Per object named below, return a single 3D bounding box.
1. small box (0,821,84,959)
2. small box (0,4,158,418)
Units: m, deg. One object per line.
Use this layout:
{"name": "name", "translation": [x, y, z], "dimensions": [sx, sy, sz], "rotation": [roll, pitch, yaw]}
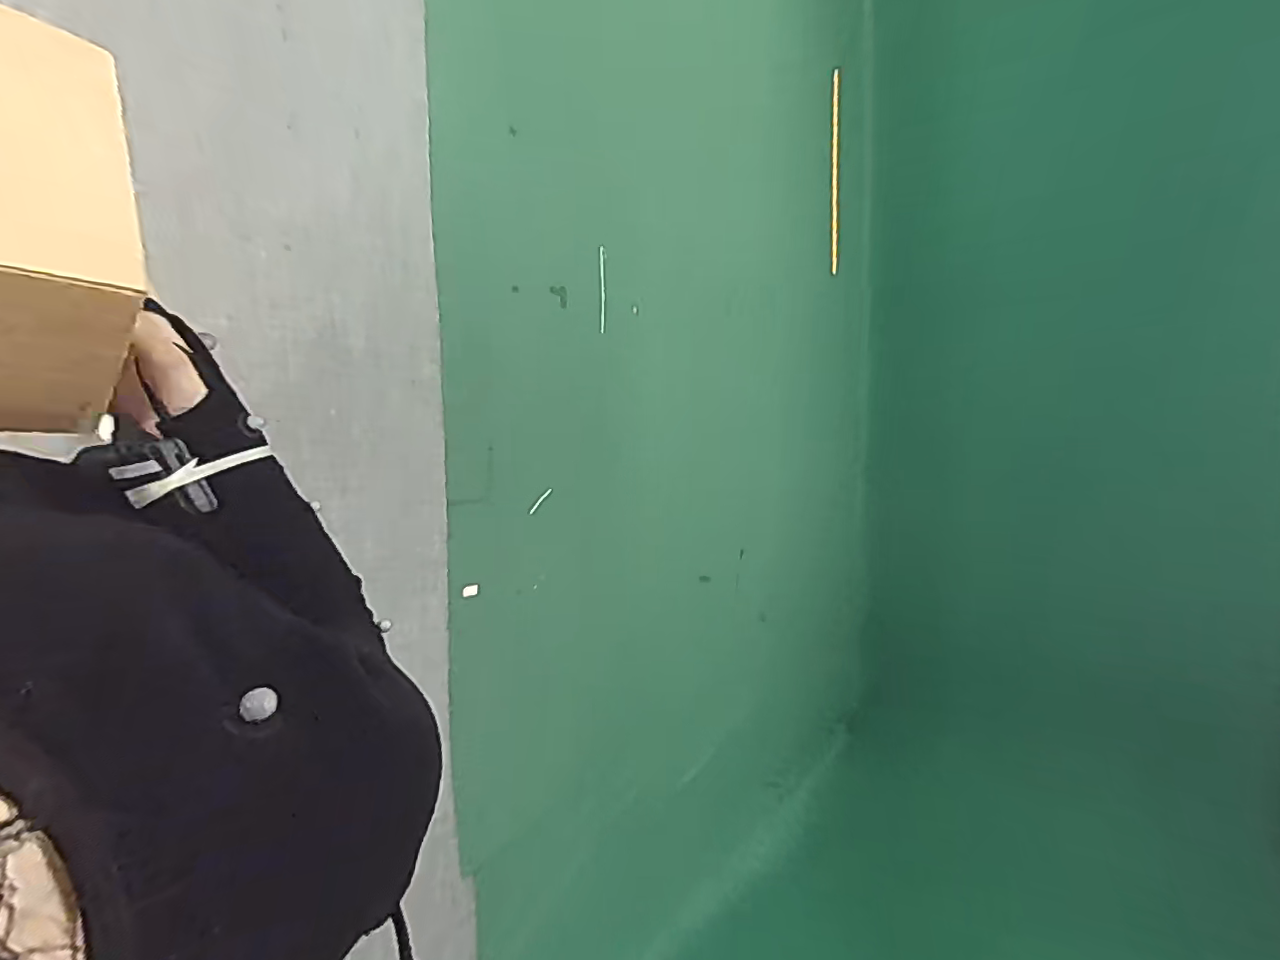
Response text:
{"name": "small box", "translation": [-1.125, 0.755, 0.963], "dimensions": [0.179, 0.176, 0.168], "rotation": [4, 90, -48]}
{"name": "small box", "translation": [-0.393, -0.141, 0.278], "dimensions": [0.179, 0.176, 0.168], "rotation": [-4, 72, -54]}
